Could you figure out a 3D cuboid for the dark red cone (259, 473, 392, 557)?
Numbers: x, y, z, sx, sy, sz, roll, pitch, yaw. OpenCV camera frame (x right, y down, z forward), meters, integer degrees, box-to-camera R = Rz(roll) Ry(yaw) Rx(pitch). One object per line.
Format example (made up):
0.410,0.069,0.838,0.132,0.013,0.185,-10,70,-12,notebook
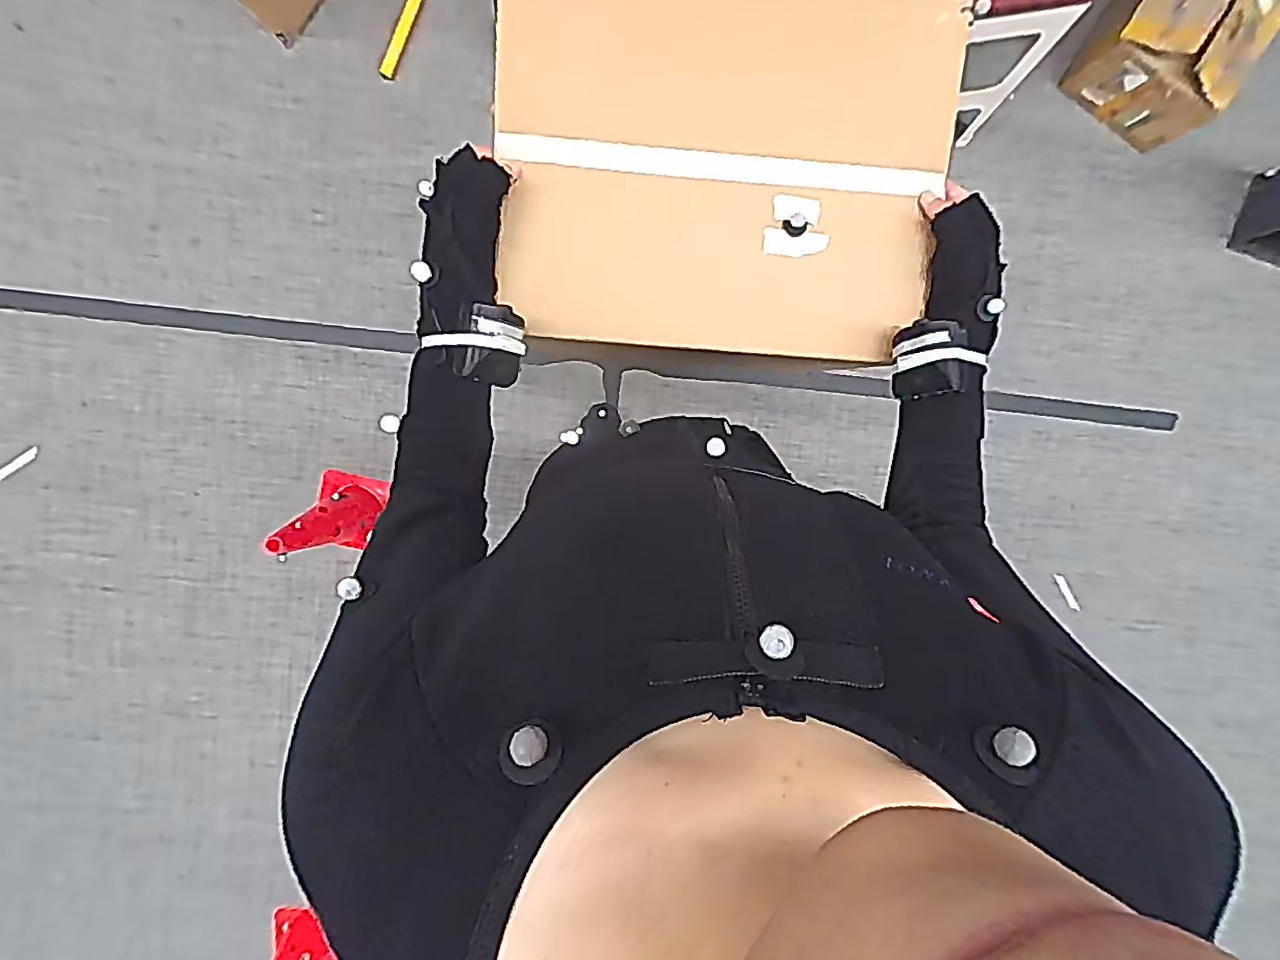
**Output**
-0.749,0.111,1.258,0.201,0.394,0.202,12,97,-5,dark red cone

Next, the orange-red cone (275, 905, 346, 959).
-0.967,1.381,1.435,0.198,0.360,0.199,4,99,-2,orange-red cone

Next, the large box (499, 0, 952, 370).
0.063,-0.302,0.636,0.408,0.320,0.320,3,100,-4,large box
